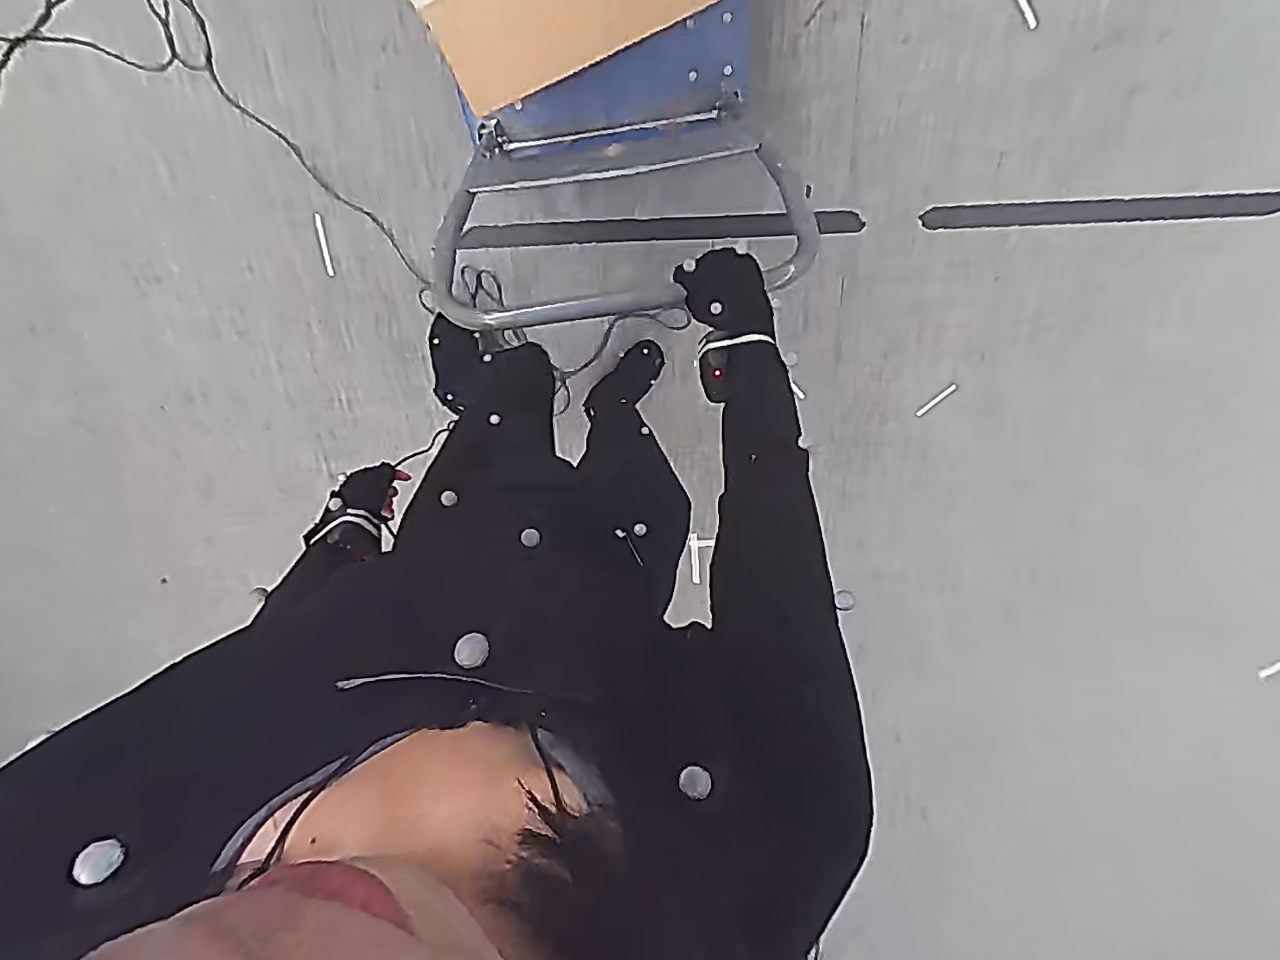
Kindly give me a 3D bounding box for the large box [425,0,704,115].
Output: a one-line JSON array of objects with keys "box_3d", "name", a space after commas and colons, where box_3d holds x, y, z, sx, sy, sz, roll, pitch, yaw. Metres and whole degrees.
[{"box_3d": [-0.130, -0.835, 0.820, 0.408, 0.320, 0.320, -18, 132, 12], "name": "large box"}]
